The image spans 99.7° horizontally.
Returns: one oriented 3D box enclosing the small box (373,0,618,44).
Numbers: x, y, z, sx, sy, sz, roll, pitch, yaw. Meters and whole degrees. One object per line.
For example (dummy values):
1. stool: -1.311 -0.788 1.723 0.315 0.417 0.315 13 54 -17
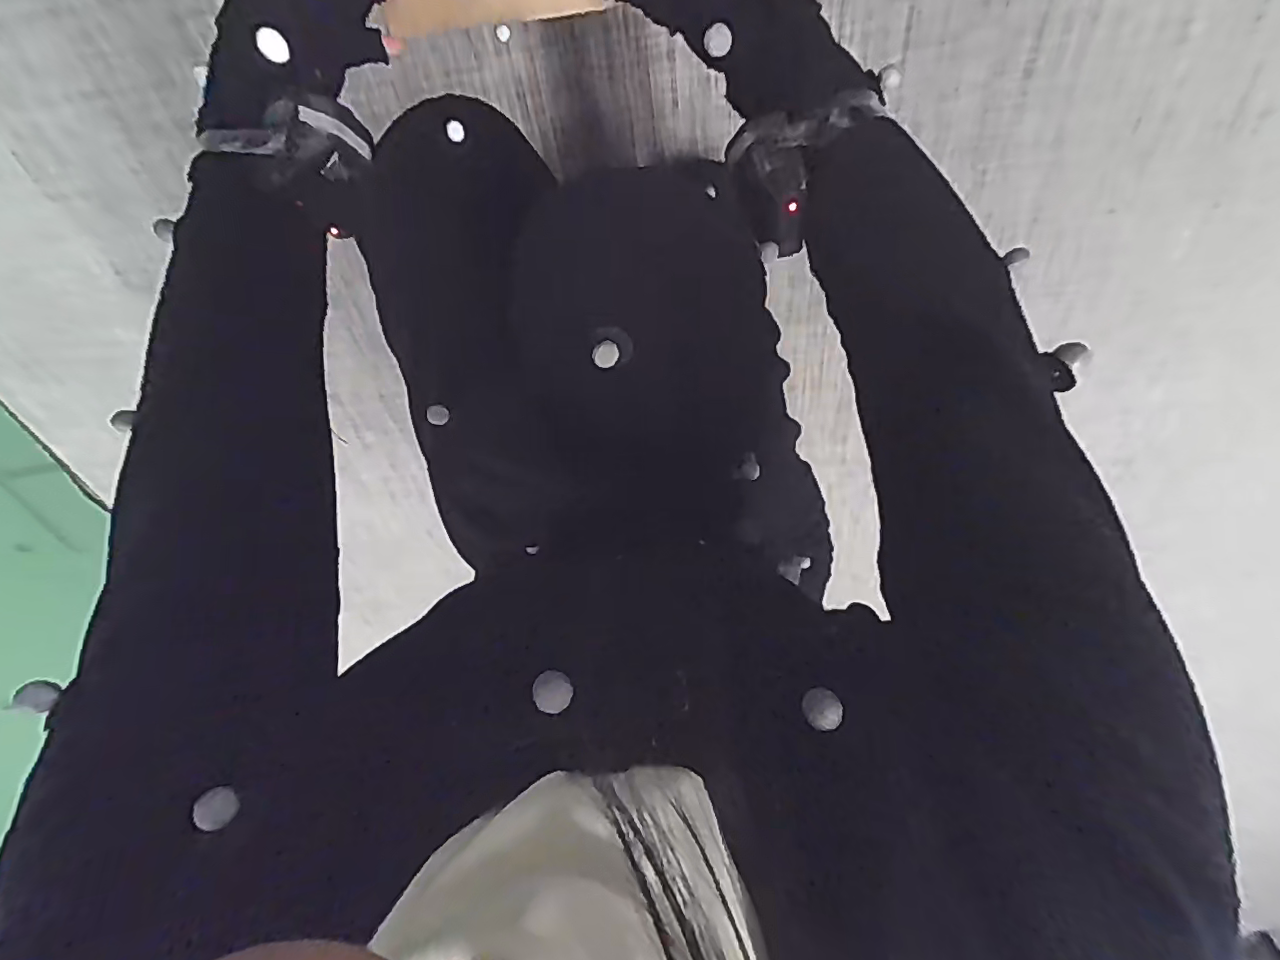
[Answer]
1. small box: -0.105 -0.436 0.390 0.179 0.176 0.168 -3 136 5
